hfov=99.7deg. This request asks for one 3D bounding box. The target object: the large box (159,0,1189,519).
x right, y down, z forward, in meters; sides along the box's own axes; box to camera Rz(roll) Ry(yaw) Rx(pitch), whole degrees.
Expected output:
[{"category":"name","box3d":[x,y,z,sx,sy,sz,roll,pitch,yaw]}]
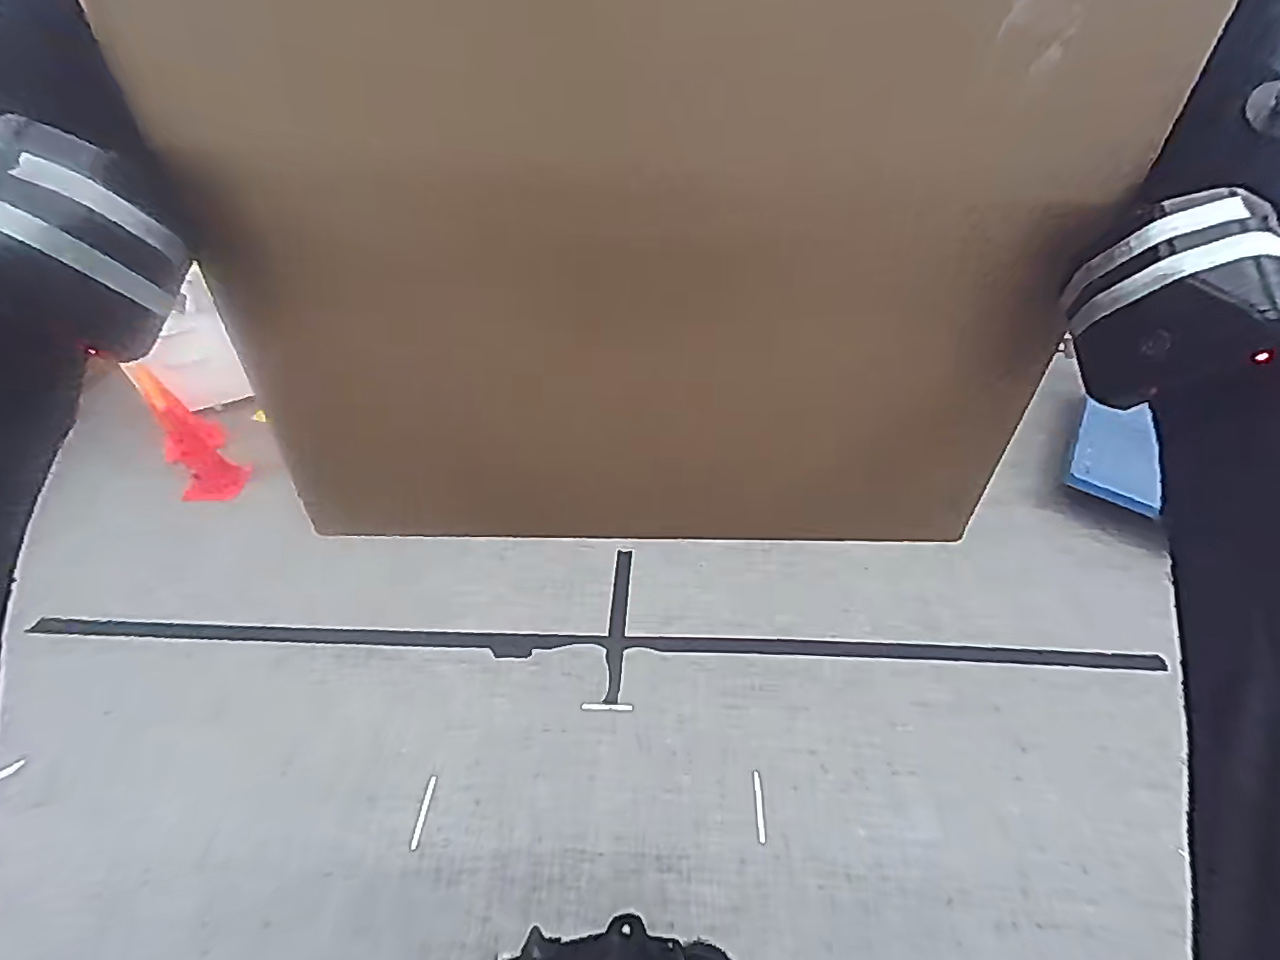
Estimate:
[{"category":"large box","box3d":[0.007,-0.182,0.384,0.408,0.320,0.320,1,37,-3]}]
